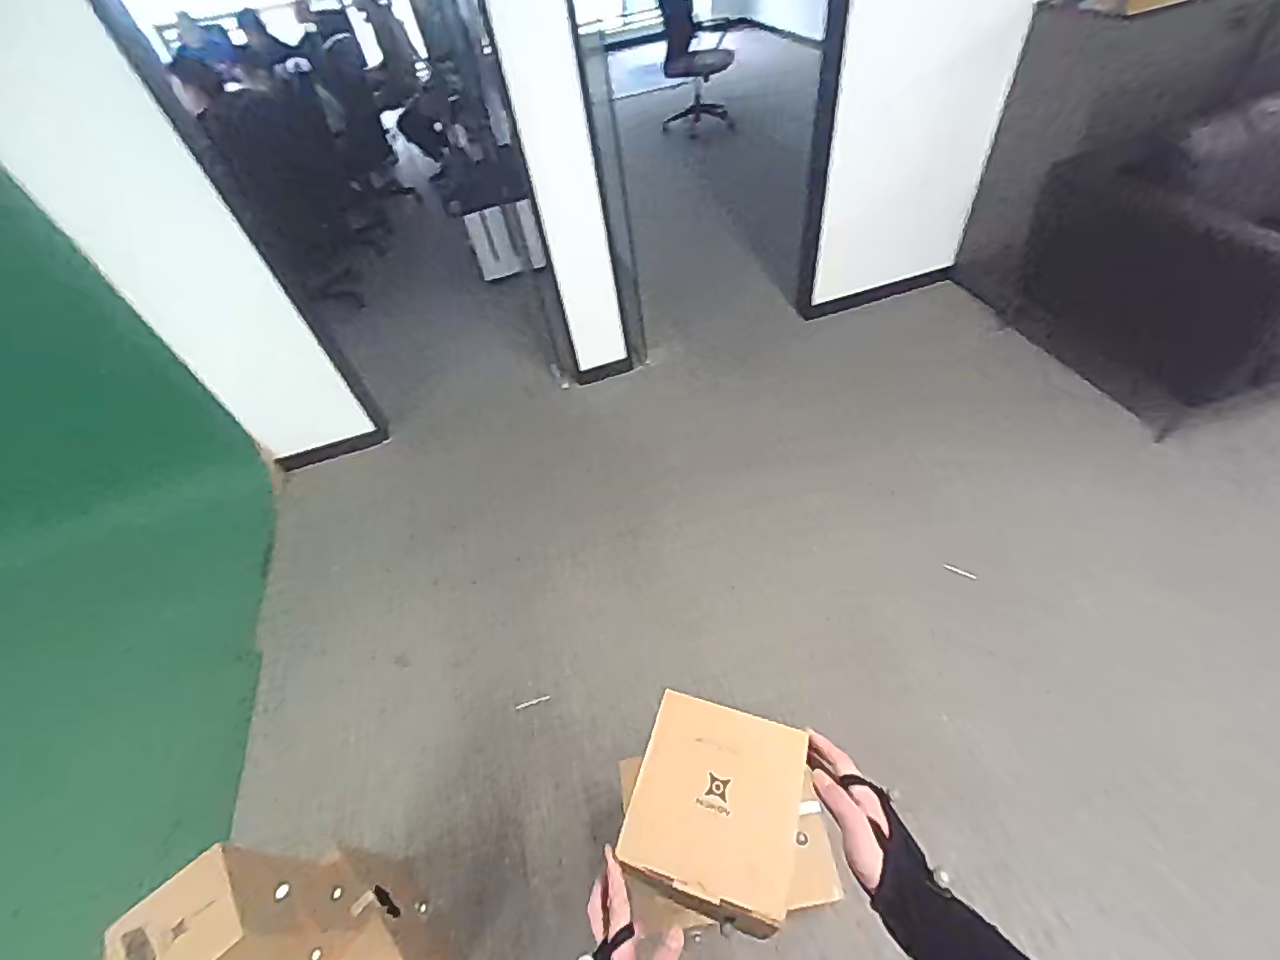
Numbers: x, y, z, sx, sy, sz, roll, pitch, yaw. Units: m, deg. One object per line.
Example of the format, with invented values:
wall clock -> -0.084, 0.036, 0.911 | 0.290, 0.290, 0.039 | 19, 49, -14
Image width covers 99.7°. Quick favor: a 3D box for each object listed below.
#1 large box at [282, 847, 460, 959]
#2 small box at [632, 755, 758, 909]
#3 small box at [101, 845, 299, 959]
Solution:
large box -> -0.667, 1.078, 1.127 | 0.320, 0.320, 0.408 | 30, 60, 31
small box -> 0.091, 0.587, 0.896 | 0.168, 0.176, 0.179 | -13, 48, -2
small box -> -0.704, 0.744, 0.877 | 0.179, 0.176, 0.168 | -37, 53, -22
